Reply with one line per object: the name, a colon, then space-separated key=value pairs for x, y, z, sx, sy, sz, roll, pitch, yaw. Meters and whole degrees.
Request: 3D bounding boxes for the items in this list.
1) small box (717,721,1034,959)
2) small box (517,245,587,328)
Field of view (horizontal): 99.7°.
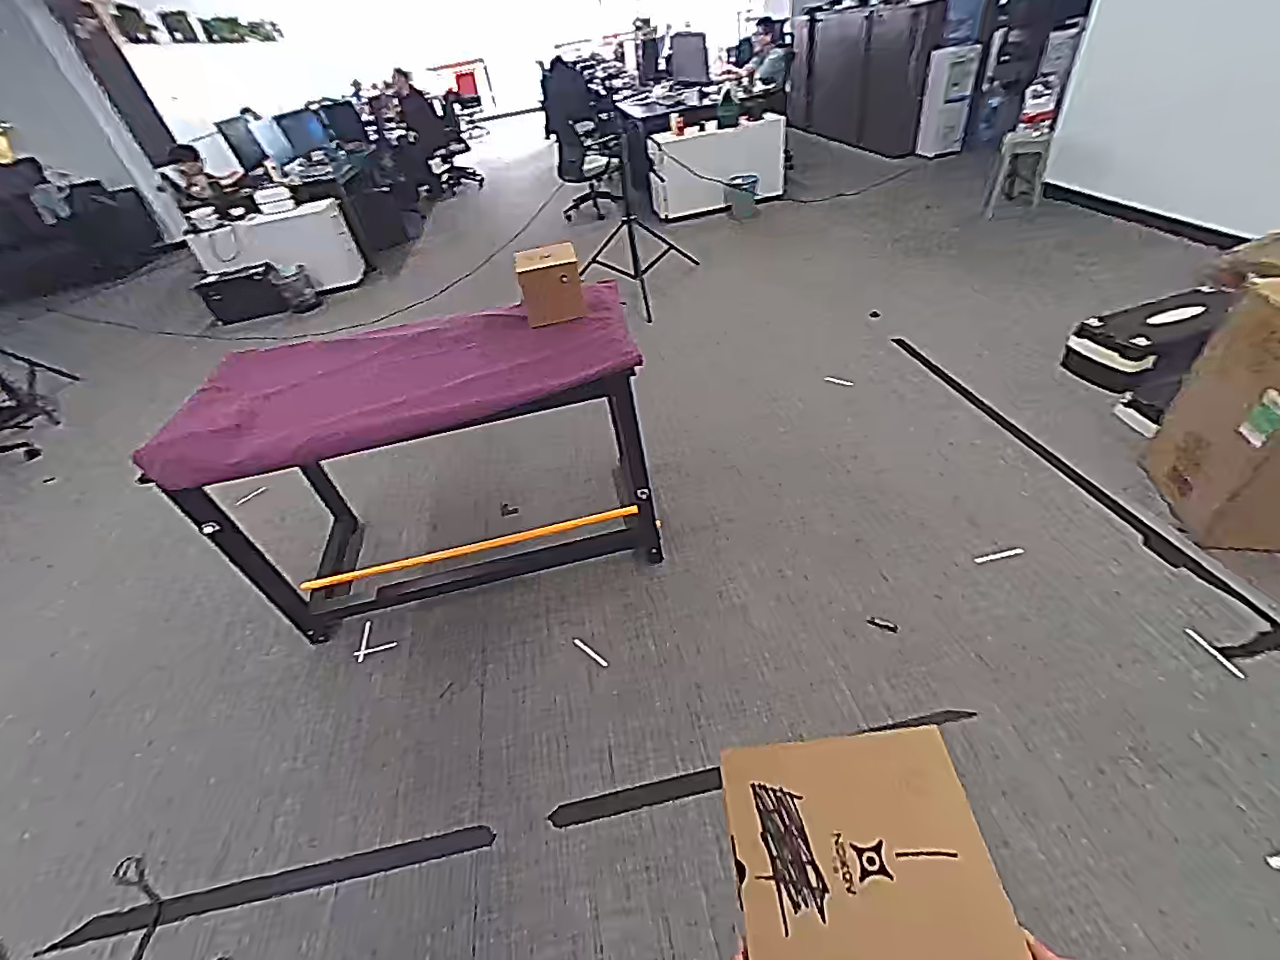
small box: x=0.169 y=0.317 z=0.437 sx=0.179 sy=0.176 sz=0.168 roll=-11 pitch=47 yaw=6
small box: x=-0.261 y=-0.577 z=1.617 sx=0.179 sy=0.176 sz=0.168 roll=-13 pitch=41 yaw=-3
